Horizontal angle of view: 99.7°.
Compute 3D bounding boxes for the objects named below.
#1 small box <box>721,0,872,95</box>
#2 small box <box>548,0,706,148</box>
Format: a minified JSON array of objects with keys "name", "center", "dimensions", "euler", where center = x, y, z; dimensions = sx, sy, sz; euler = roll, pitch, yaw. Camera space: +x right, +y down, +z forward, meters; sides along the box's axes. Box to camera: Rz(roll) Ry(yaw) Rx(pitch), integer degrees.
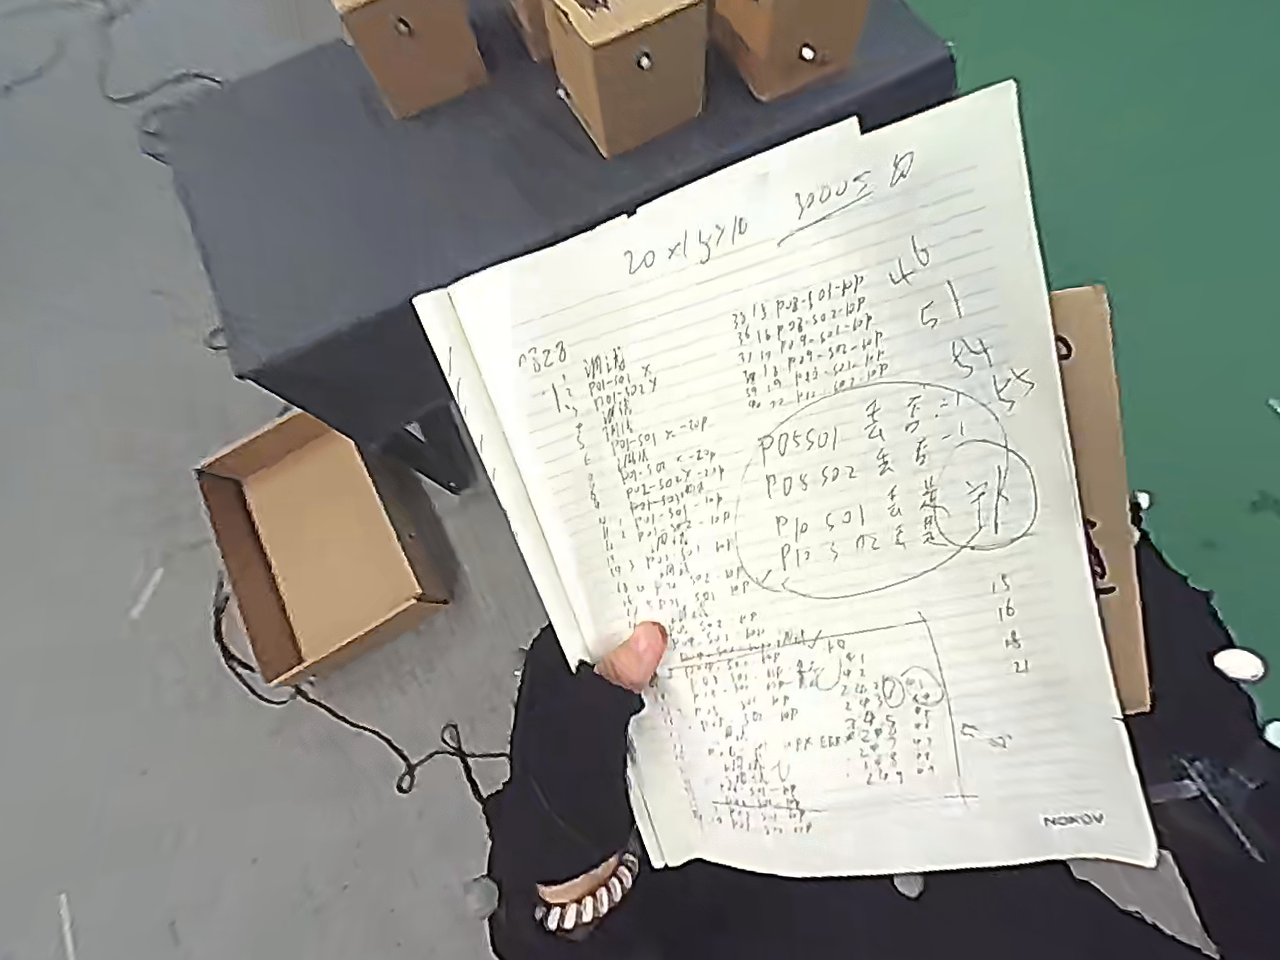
[{"name":"small box","center":[0.231,-0.732,0.809],"dimensions":[0.168,0.176,0.179],"euler":[-23,72,-2]},{"name":"small box","center":[-0.014,-0.638,0.797],"dimensions":[0.179,0.176,0.168],"euler":[-28,73,-5]}]
